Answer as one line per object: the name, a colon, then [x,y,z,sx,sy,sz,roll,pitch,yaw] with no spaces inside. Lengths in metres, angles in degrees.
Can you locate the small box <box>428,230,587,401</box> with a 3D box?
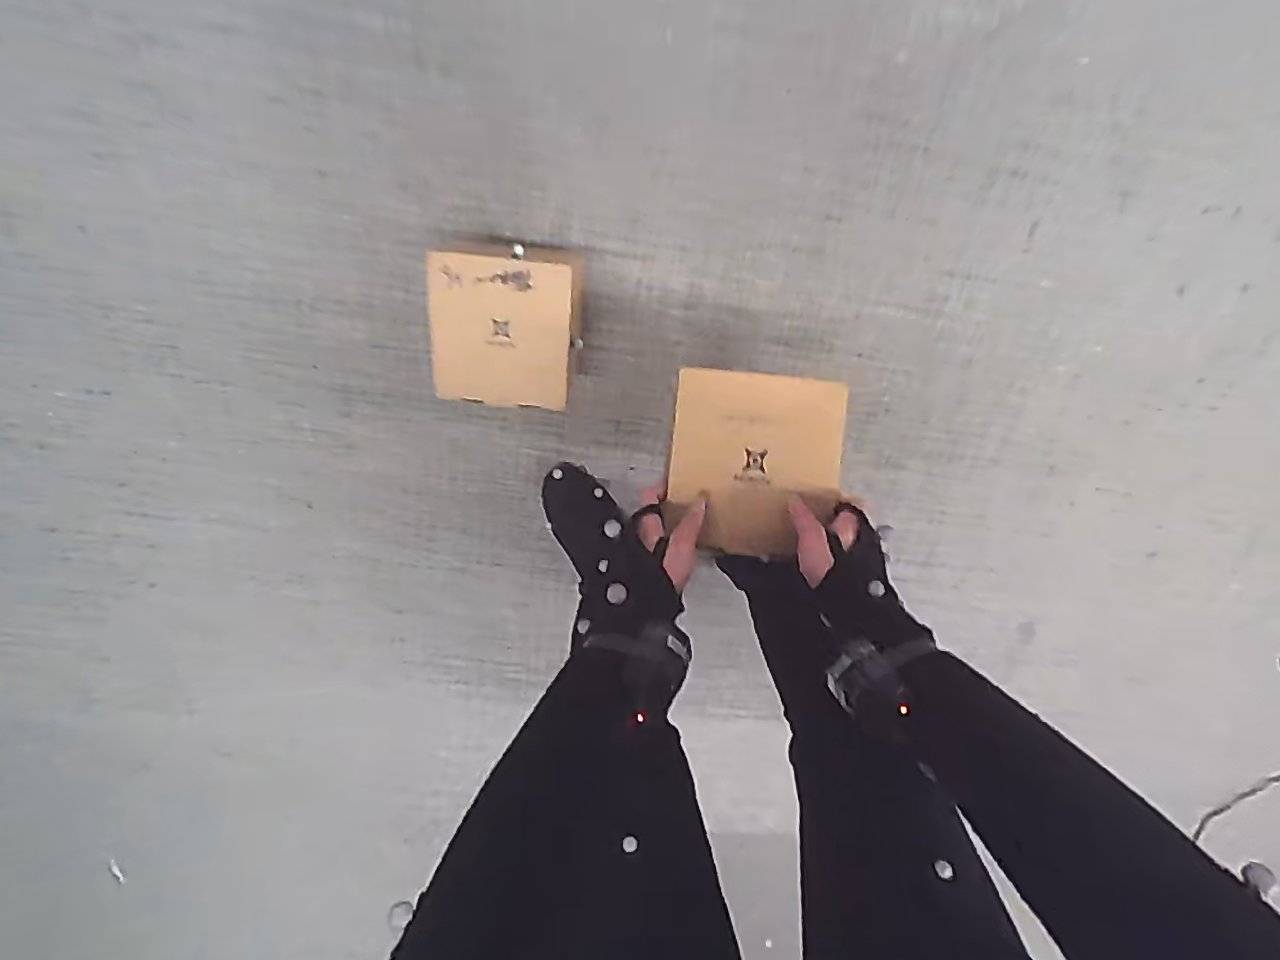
small box: [-0.162,-0.221,0.709,0.168,0.176,0.179,6,117,-3]

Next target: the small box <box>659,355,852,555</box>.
small box: [0.110,-0.024,0.587,0.168,0.176,0.179,6,90,0]
